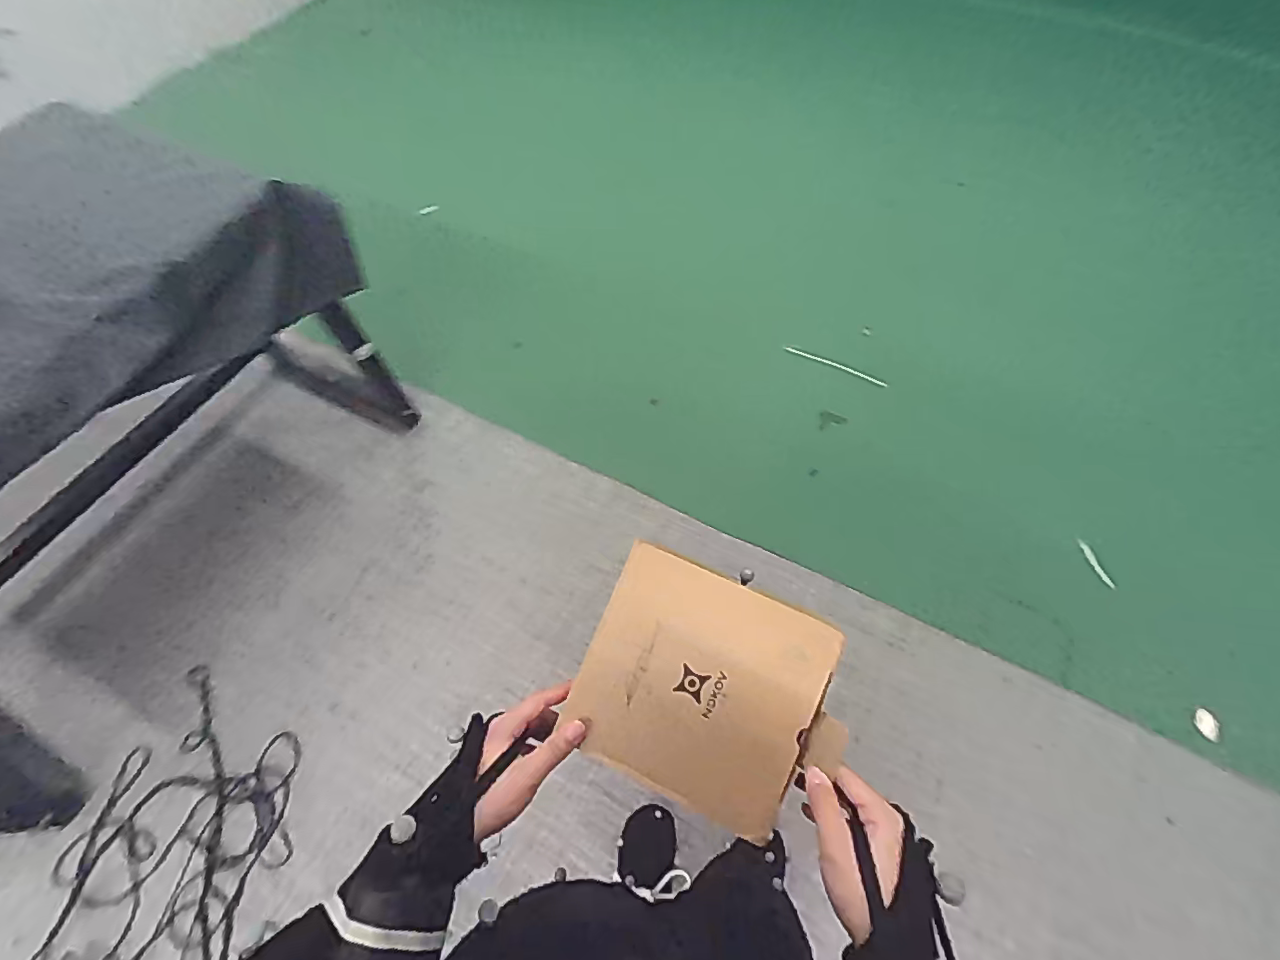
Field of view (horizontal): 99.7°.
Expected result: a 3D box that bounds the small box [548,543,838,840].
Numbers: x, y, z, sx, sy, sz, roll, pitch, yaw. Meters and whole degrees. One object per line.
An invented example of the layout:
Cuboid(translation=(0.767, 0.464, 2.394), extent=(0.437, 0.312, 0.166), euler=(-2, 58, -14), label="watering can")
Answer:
Cuboid(translation=(0.049, 0.165, 0.483), extent=(0.179, 0.176, 0.168), euler=(20, 83, 11), label="small box")
